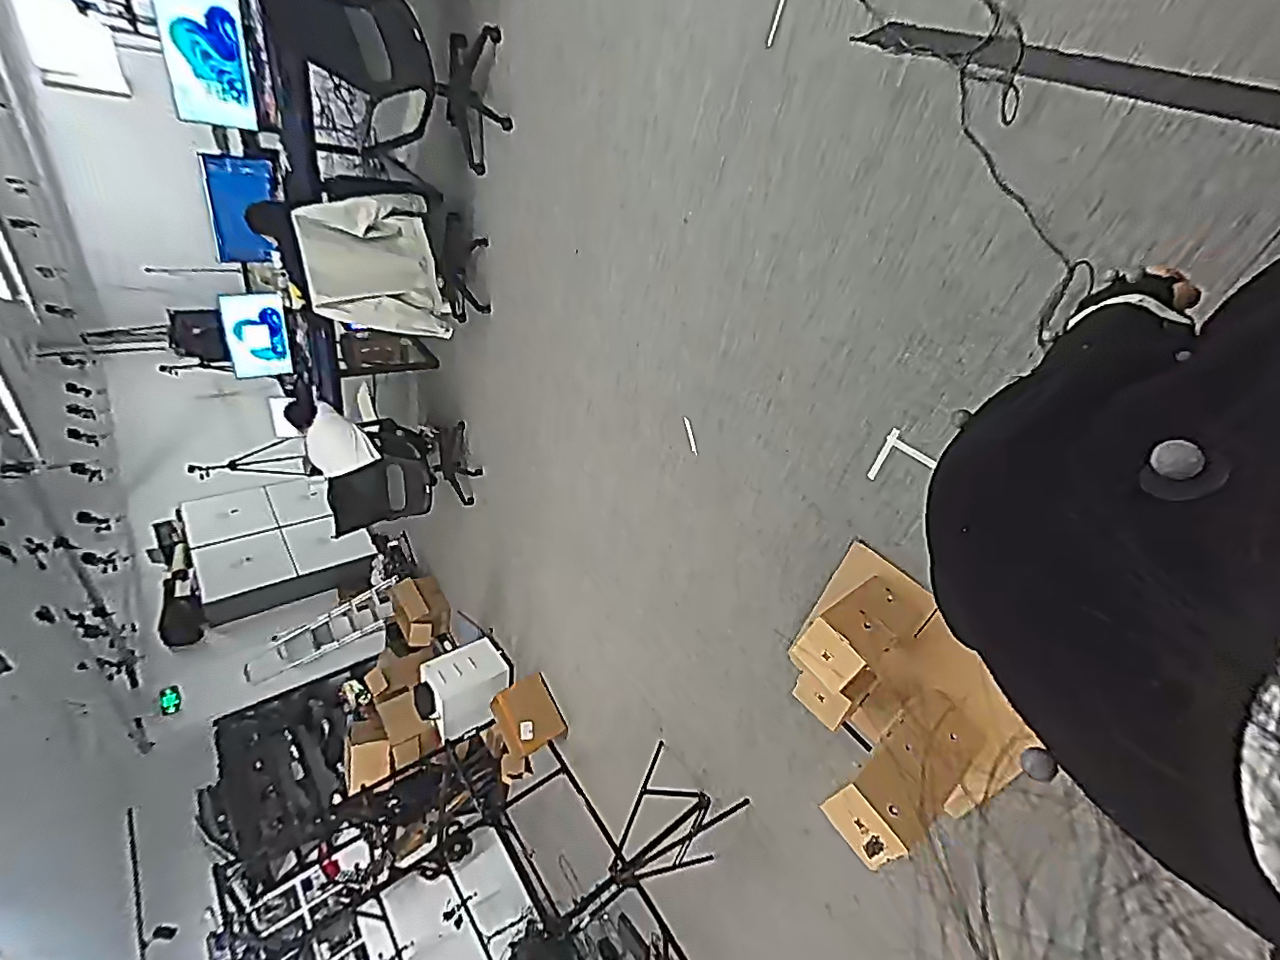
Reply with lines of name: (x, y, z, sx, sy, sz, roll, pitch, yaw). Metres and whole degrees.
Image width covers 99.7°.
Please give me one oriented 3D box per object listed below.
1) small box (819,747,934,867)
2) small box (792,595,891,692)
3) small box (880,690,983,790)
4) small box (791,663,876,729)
small box: (0.601, 0.825, 1.373, 0.179, 0.176, 0.168, 49, 136, 28)
small box: (0.577, 0.460, 1.540, 0.168, 0.176, 0.179, 46, 134, 30)
small box: (0.851, 0.752, 1.575, 0.179, 0.176, 0.168, 49, 136, 26)
small box: (0.647, 0.680, 1.806, 0.179, 0.176, 0.168, 39, 132, 35)
